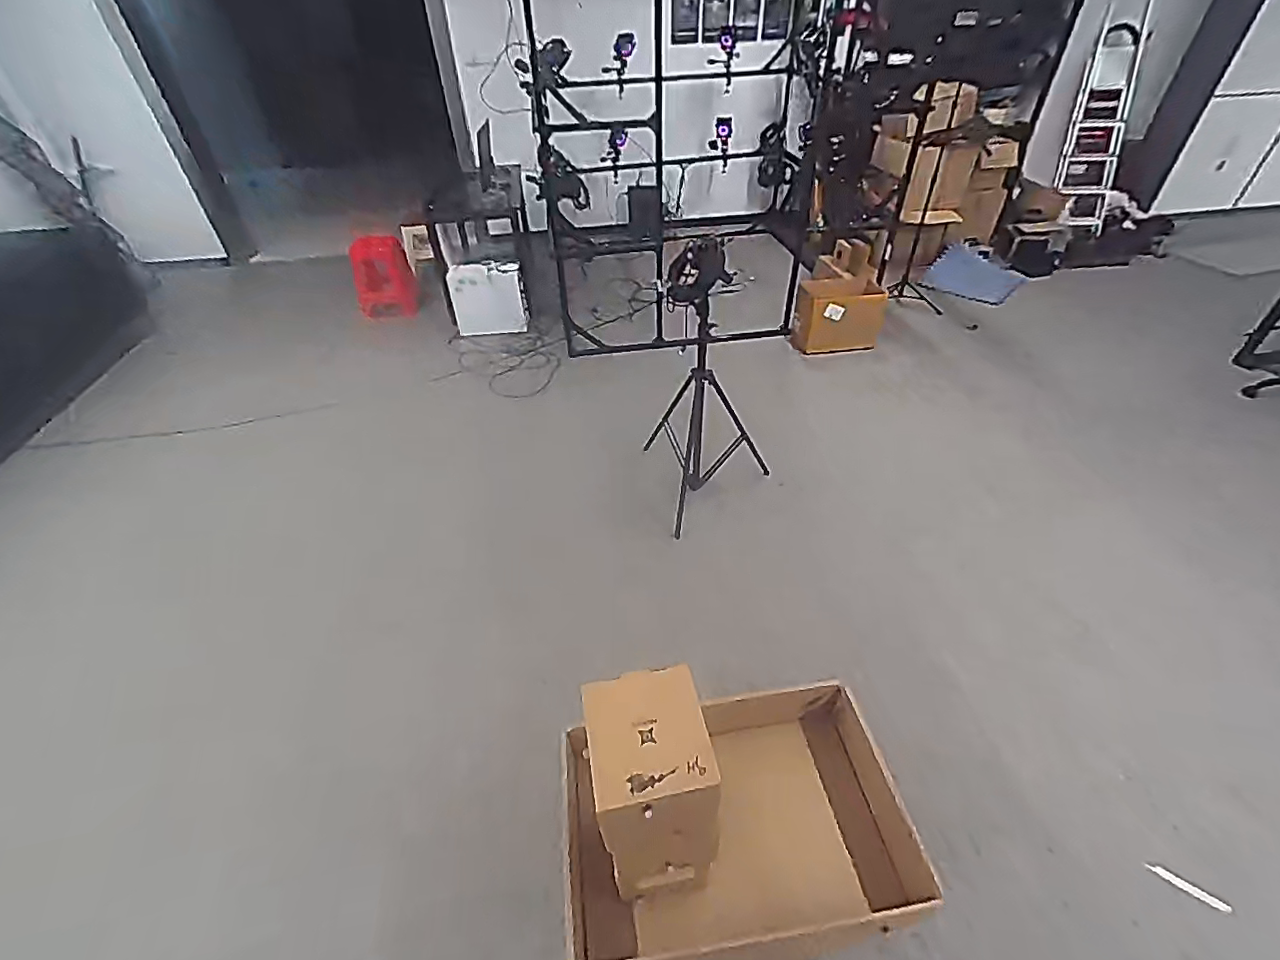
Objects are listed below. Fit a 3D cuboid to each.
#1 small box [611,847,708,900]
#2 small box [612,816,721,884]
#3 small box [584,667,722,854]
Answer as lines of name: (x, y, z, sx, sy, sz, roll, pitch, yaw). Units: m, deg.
small box: (0.031, 0.655, 1.010, 0.168, 0.176, 0.179, -8, 40, -5)
small box: (0.029, 0.533, 0.900, 0.168, 0.176, 0.179, -9, 41, -6)
small box: (0.014, 0.409, 0.793, 0.168, 0.176, 0.179, -9, 40, -6)
